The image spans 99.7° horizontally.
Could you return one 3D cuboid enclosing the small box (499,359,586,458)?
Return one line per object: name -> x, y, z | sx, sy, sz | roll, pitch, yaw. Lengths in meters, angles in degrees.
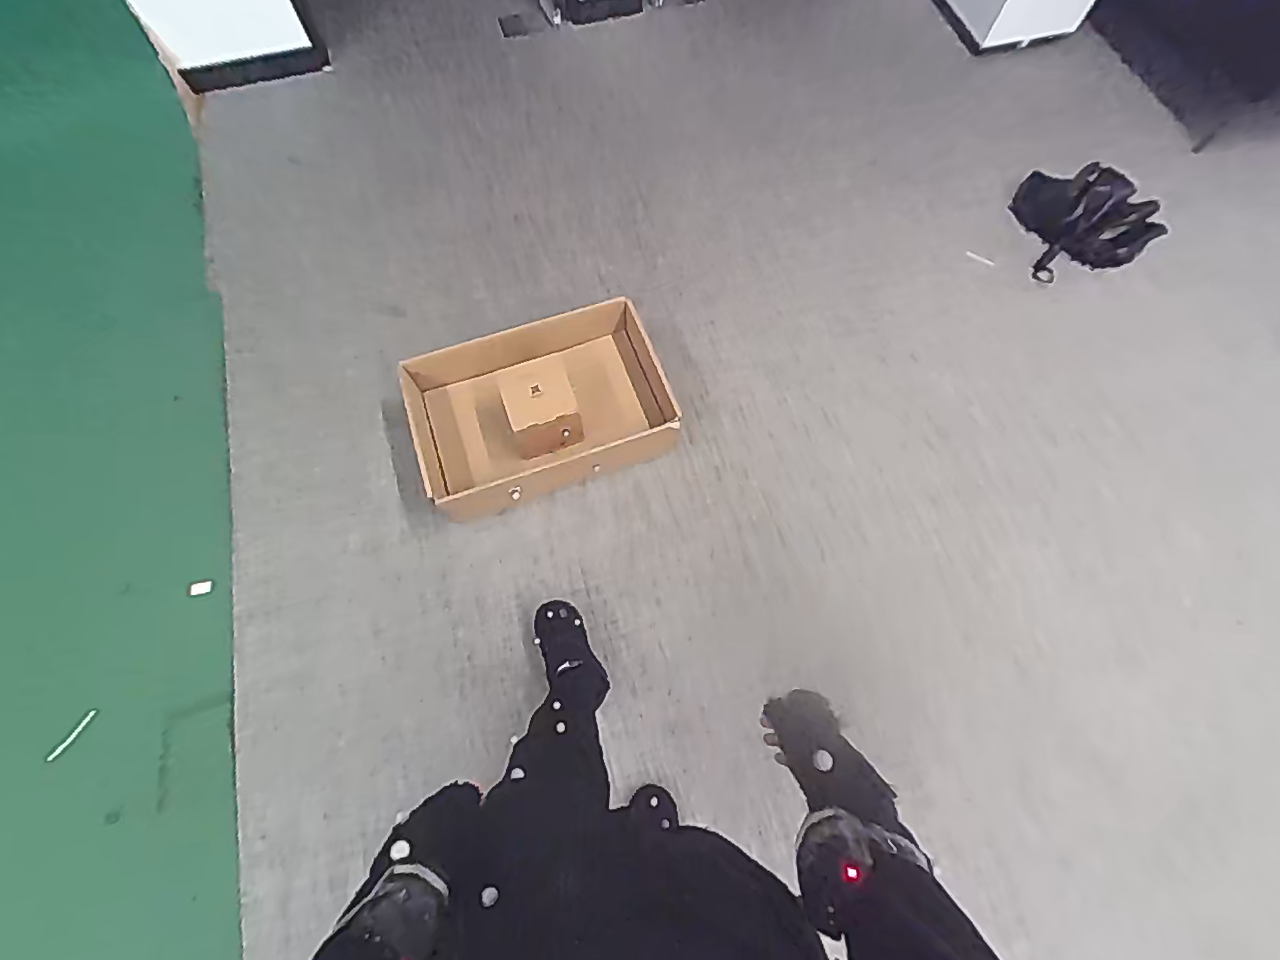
small box -> -0.242, -0.172, 1.376 | 0.168, 0.176, 0.179 | -19, 68, -9
